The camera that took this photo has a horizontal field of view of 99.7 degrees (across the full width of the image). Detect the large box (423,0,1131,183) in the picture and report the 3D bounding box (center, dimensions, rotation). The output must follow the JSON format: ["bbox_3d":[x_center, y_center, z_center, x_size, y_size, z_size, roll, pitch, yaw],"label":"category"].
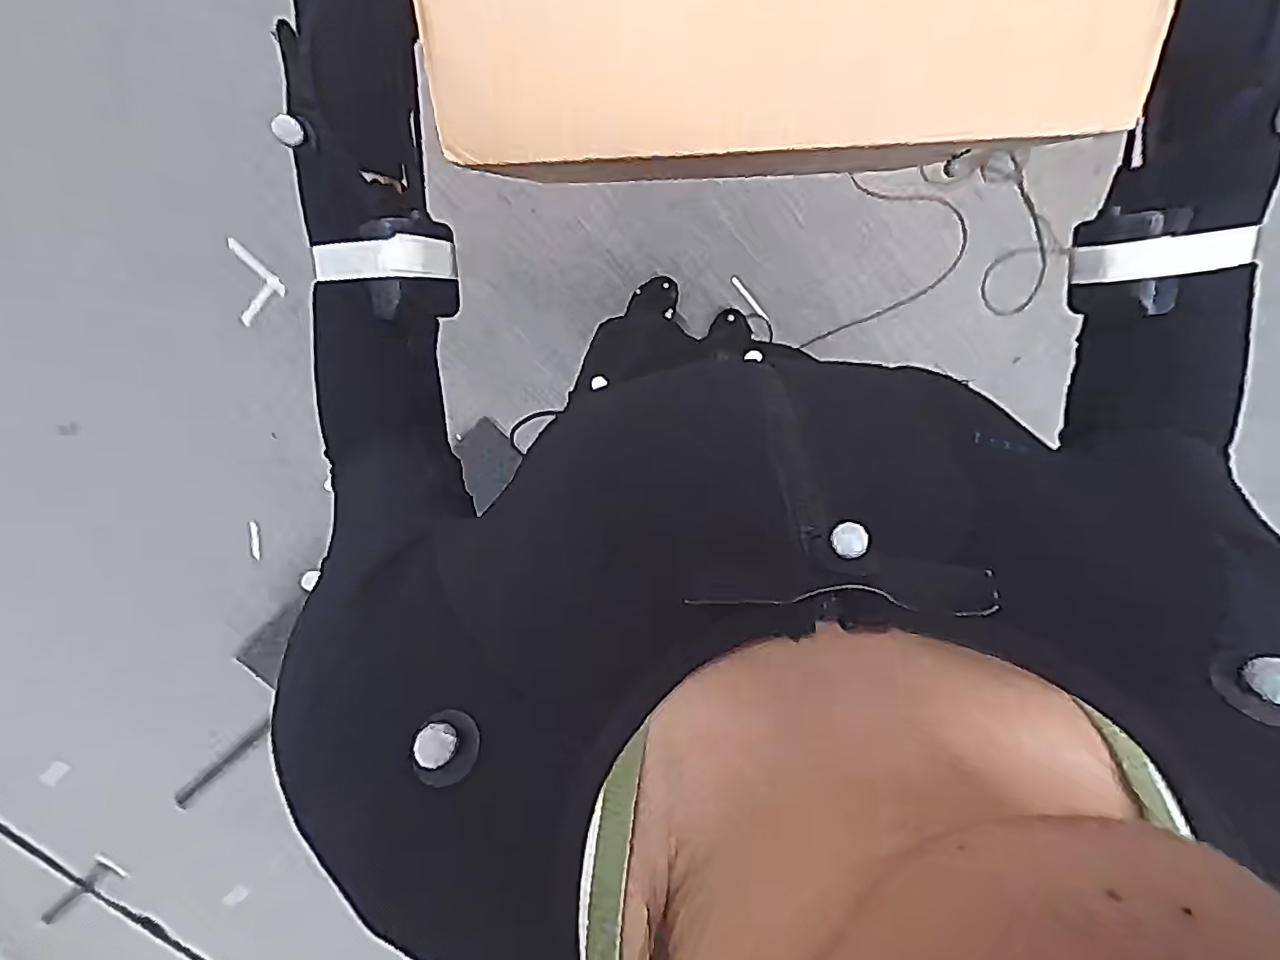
[{"bbox_3d":[0.074,-0.409,0.397,0.408,0.320,0.320,-2,117,3],"label":"large box"}]
